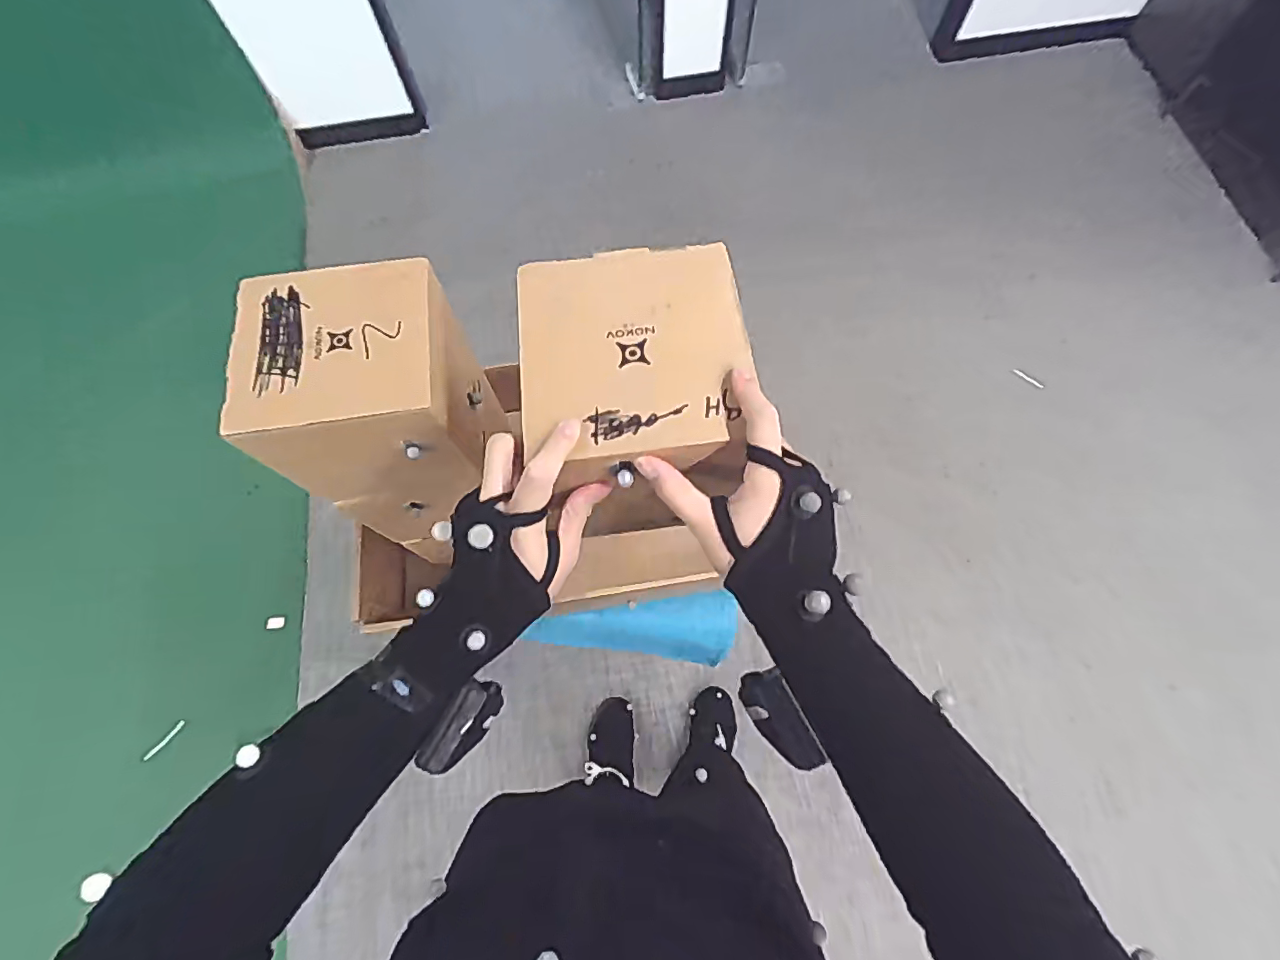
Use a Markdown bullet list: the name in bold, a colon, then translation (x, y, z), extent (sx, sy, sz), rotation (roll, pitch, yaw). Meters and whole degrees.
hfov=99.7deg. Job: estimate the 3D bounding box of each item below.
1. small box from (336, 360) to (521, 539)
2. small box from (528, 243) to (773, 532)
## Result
- **small box**: translation (-0.265, -0.030, 0.708), extent (0.179, 0.176, 0.168), rotation (-9, 69, -4)
- **small box**: translation (0.003, -0.069, 0.466), extent (0.168, 0.176, 0.179), rotation (-7, 68, 0)
